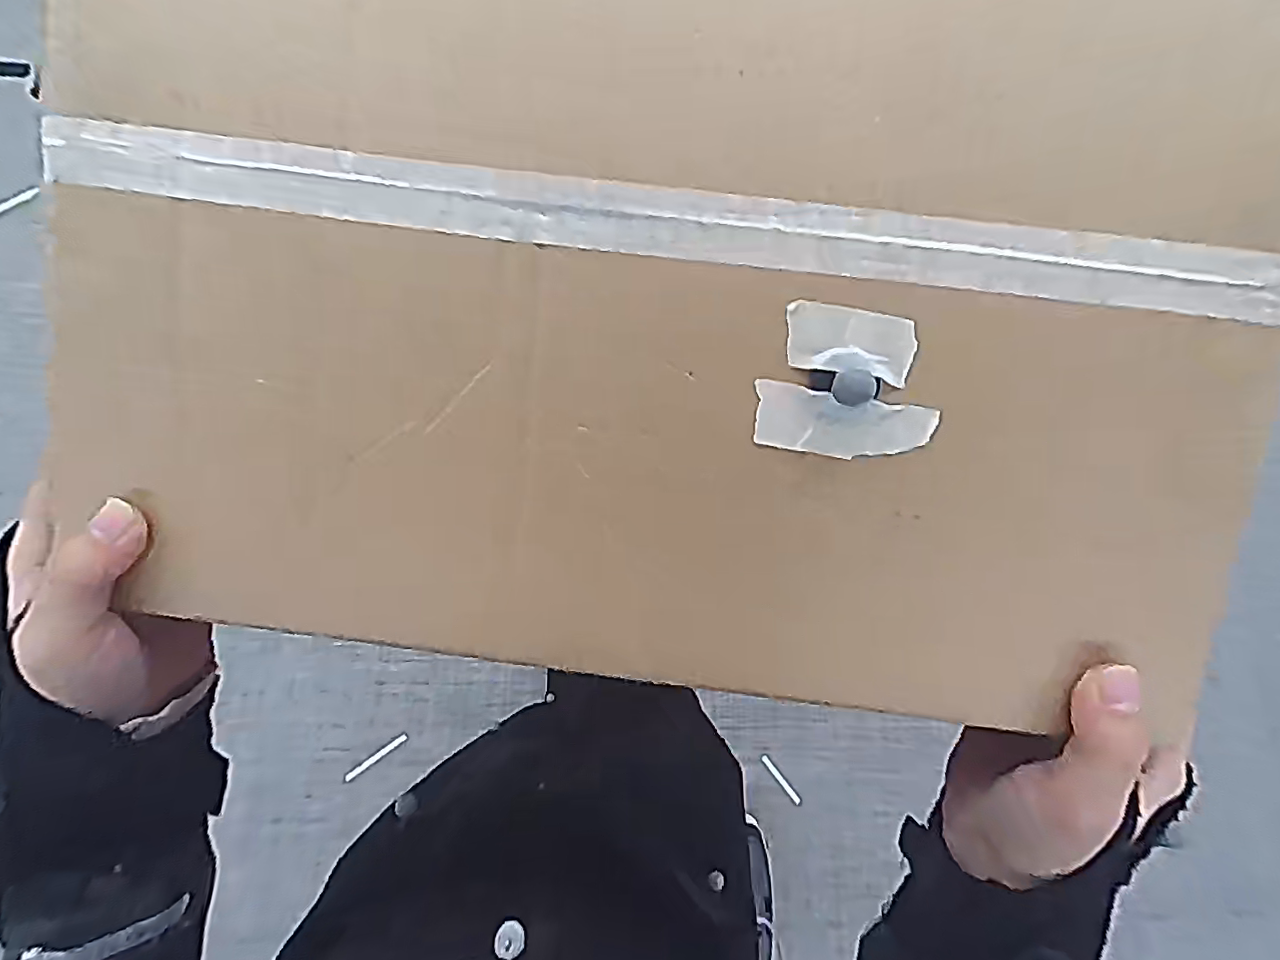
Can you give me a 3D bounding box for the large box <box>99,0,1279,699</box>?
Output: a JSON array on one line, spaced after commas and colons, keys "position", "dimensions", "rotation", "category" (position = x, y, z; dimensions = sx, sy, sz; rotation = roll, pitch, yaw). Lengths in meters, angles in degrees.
[{"position": [0.010, -0.101, 0.339], "dimensions": [0.408, 0.320, 0.320], "rotation": [7, 97, 0], "category": "large box"}]
